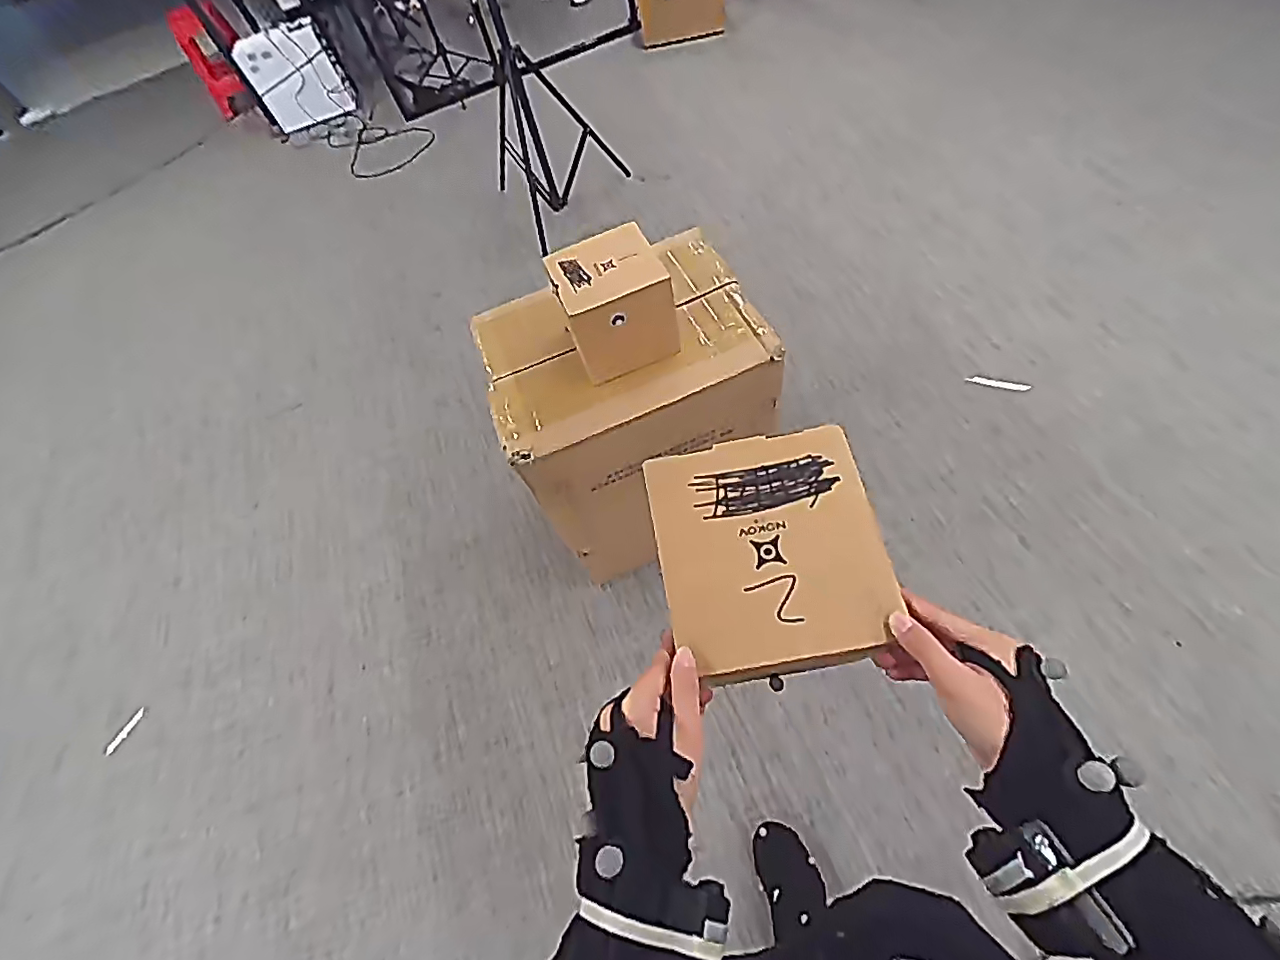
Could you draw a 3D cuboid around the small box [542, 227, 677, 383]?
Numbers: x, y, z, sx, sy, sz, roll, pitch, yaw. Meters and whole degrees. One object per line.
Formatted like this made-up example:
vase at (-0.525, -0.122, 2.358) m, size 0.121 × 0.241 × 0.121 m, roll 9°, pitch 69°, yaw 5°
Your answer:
small box at (-0.048, -0.301, 0.952) m, size 0.179 × 0.176 × 0.168 m, roll -23°, pitch 59°, yaw -3°
